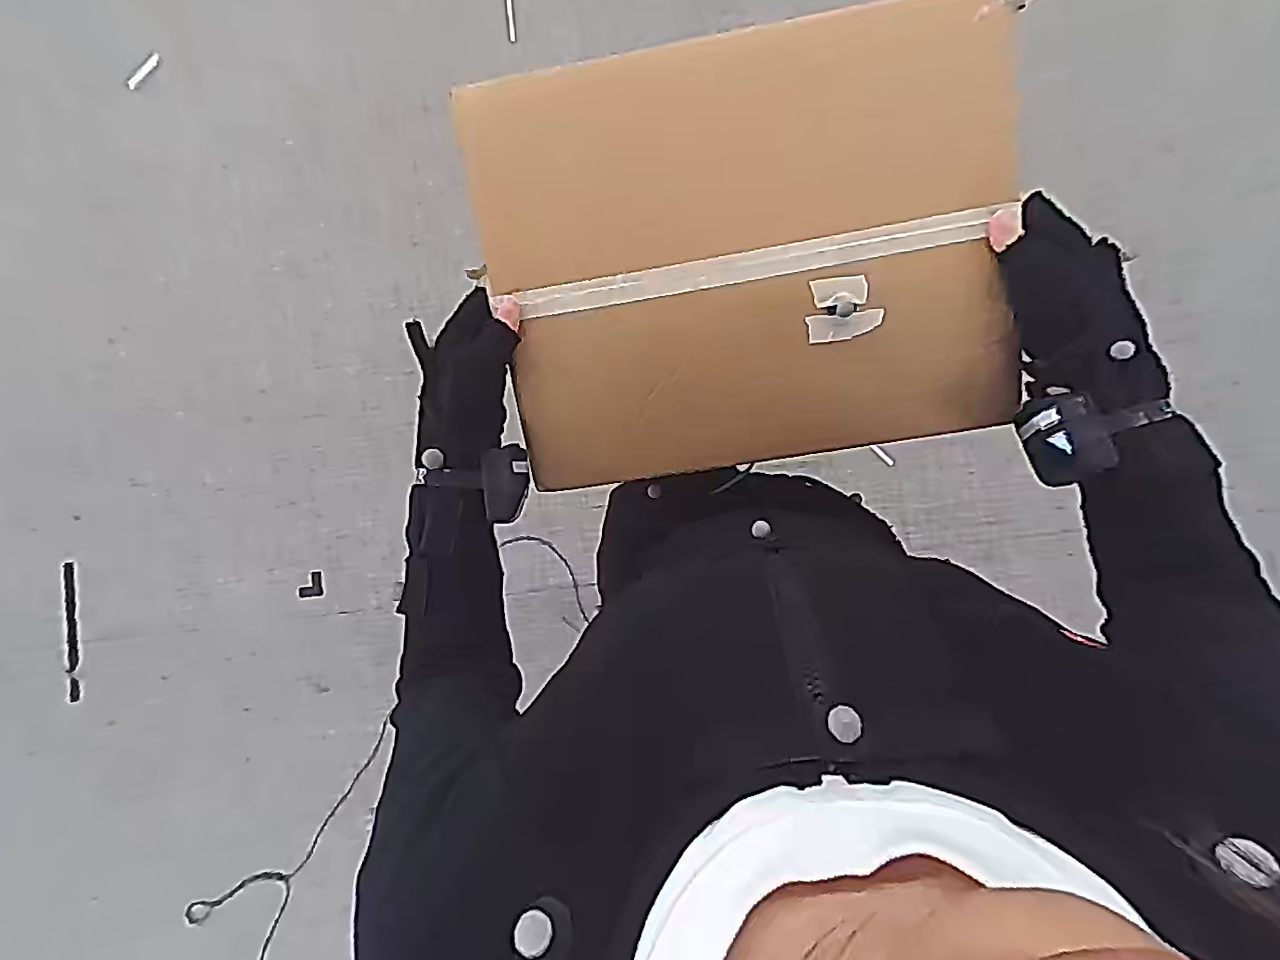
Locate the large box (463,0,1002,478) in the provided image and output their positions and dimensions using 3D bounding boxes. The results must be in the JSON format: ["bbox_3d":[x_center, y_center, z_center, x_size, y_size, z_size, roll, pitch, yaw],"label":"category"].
[{"bbox_3d":[0.085,-0.214,0.576,0.408,0.320,0.320,-9,104,3],"label":"large box"}]
